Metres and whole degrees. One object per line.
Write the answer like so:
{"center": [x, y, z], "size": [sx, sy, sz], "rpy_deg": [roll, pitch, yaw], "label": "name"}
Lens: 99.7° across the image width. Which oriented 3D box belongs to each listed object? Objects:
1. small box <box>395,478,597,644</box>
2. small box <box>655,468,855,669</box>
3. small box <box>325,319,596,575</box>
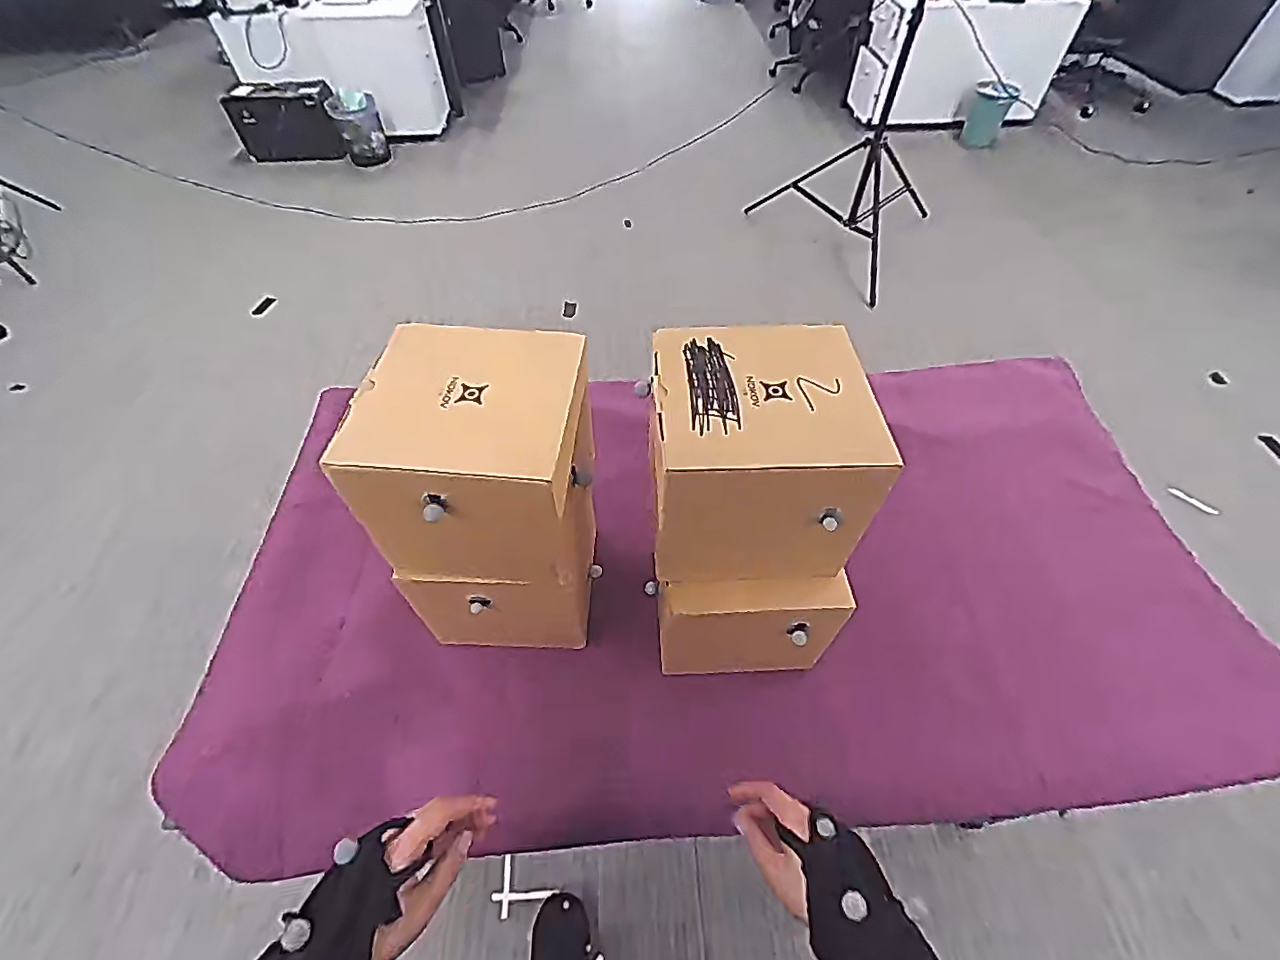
{"center": [-0.147, 0.080, 0.625], "size": [0.179, 0.176, 0.168], "rpy_deg": [2, 52, 0], "label": "small box"}
{"center": [0.110, 0.103, 0.608], "size": [0.179, 0.176, 0.168], "rpy_deg": [-1, 51, -2], "label": "small box"}
{"center": [-0.138, -0.025, 0.500], "size": [0.179, 0.176, 0.168], "rpy_deg": [4, 52, 3], "label": "small box"}
